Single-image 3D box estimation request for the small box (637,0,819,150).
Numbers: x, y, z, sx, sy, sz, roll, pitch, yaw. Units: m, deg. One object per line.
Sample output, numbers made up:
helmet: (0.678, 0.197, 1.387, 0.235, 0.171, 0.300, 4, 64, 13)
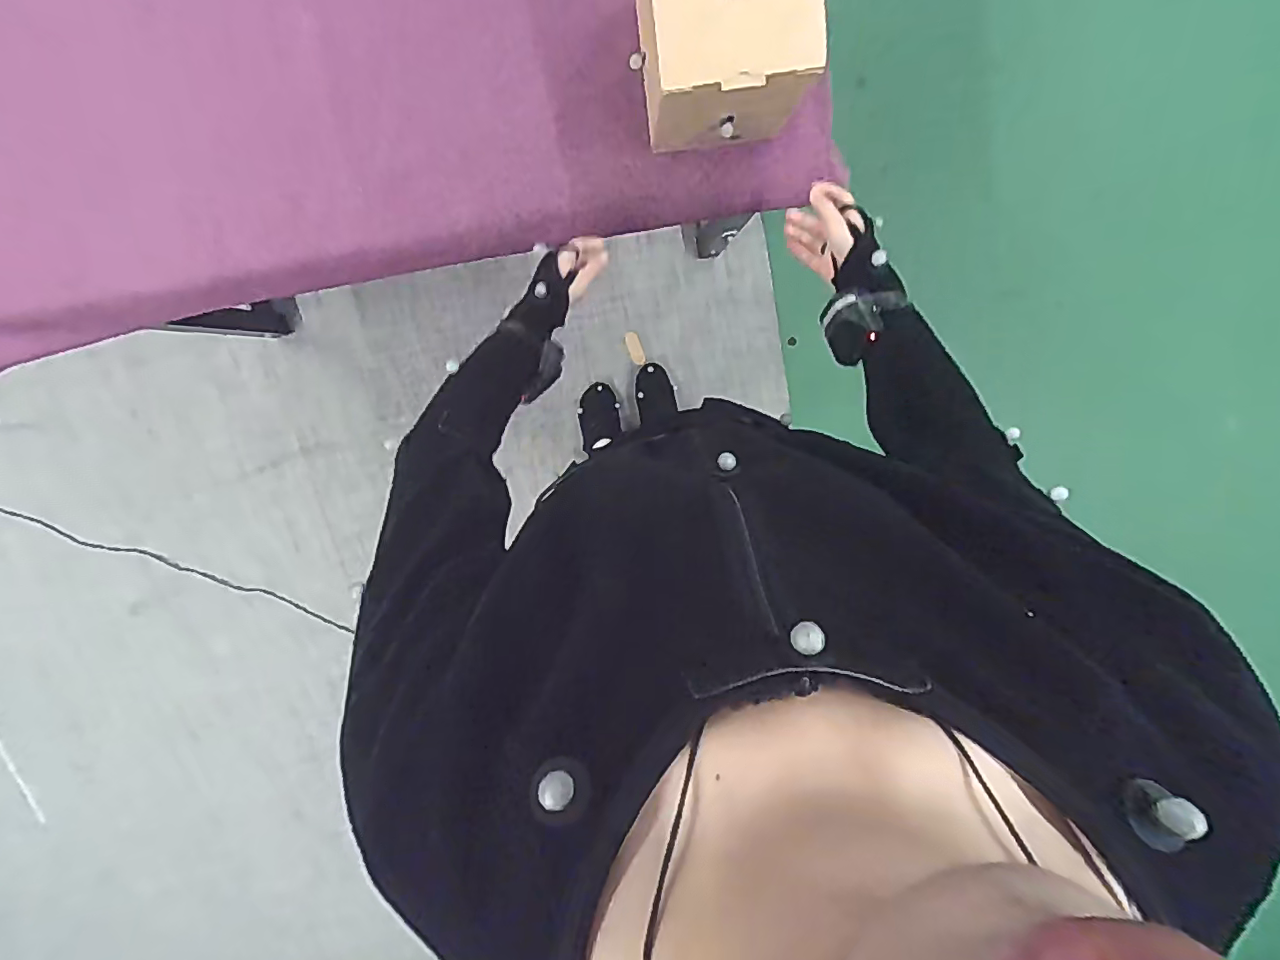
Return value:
small box: (0.086, -0.483, 0.590, 0.168, 0.176, 0.179, -7, 104, 1)
